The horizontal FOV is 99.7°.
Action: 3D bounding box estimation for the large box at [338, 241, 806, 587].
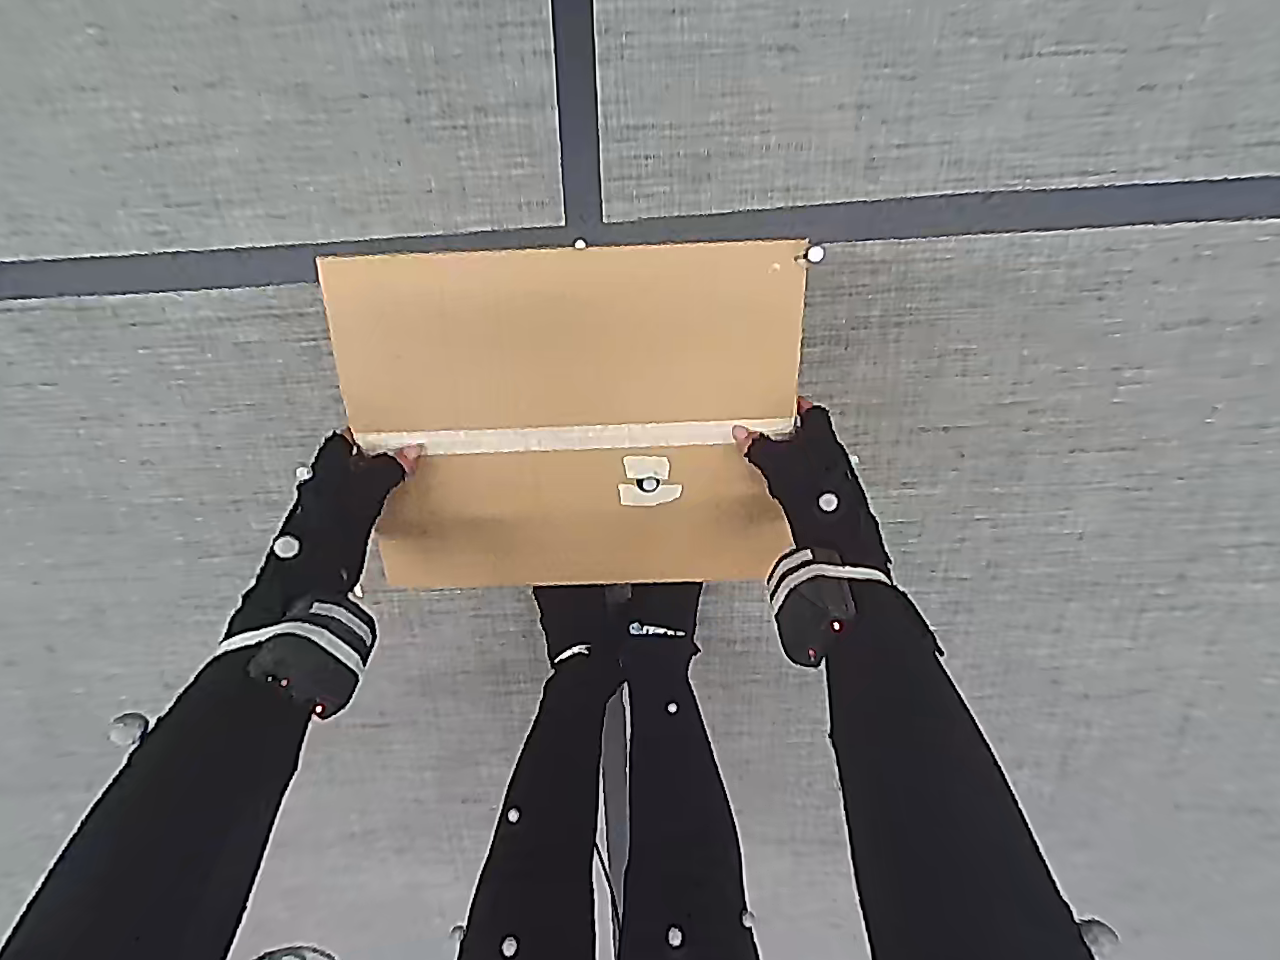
[{"bbox_3d":[-0.054,-0.091,0.640,0.408,0.320,0.320,-2,110,1],"label":"large box"}]
